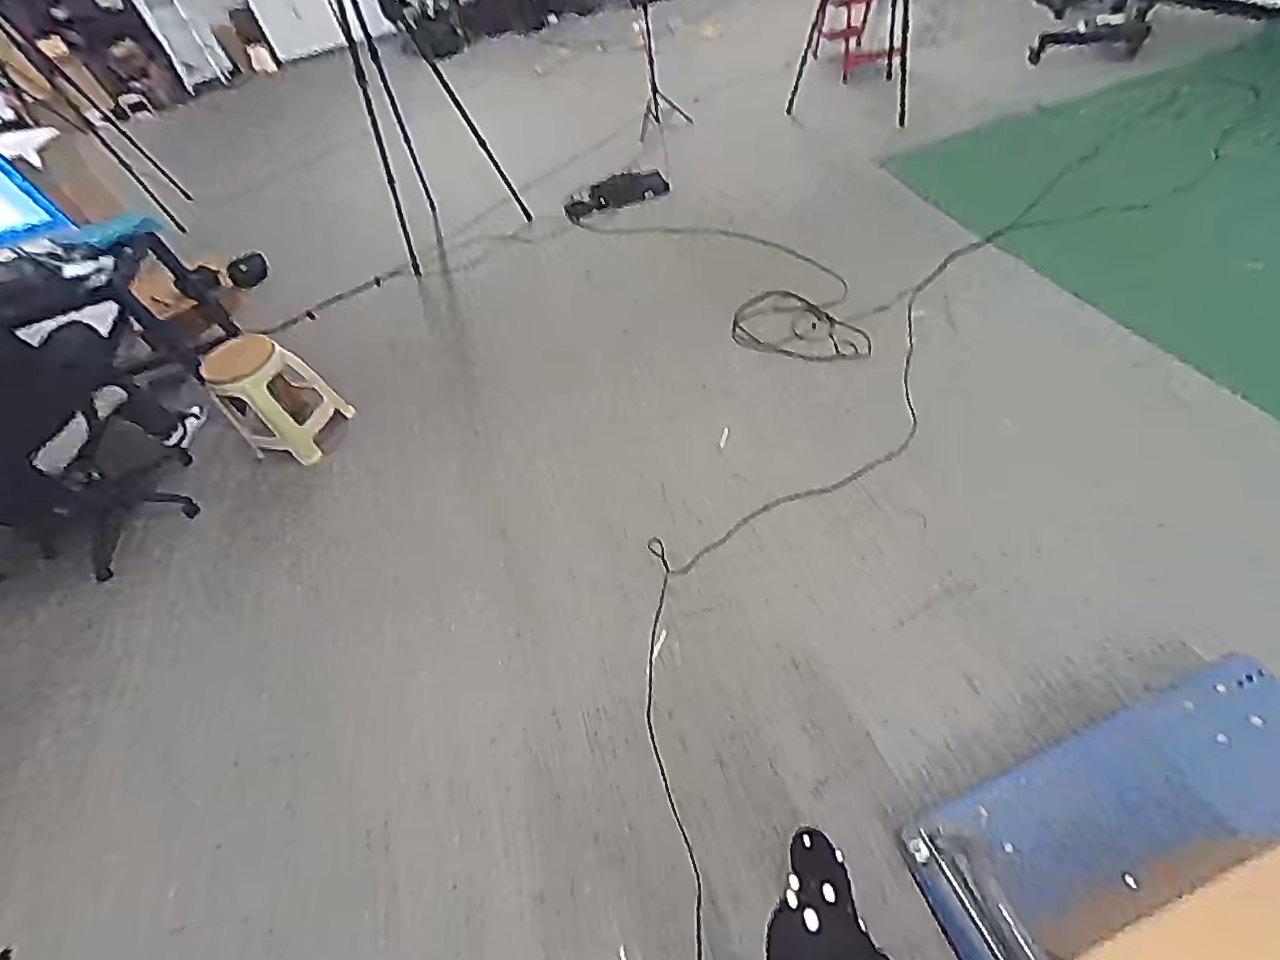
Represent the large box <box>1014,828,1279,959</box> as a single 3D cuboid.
[{"bbox_3d":[0.904,0.807,0.837,0.408,0.320,0.320,-27,53,-2],"label":"large box"}]
